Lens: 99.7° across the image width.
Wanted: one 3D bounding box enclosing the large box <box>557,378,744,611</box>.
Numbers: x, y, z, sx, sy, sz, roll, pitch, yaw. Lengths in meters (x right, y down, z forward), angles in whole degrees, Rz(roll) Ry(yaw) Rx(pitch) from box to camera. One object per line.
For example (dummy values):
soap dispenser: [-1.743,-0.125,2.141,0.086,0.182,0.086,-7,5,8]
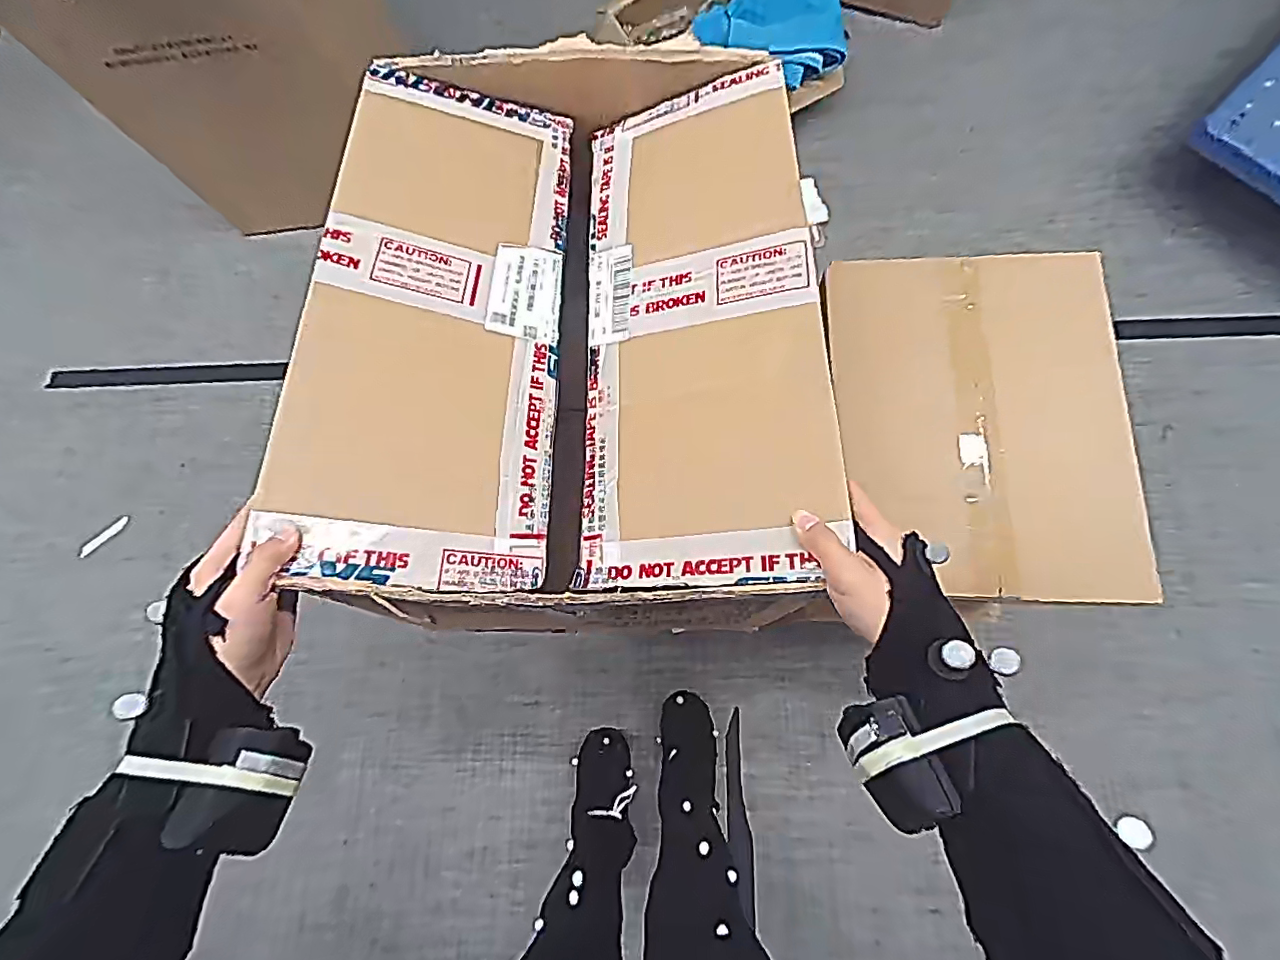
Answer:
large box: [0.019,0.047,1.083,0.320,0.320,0.408,-2,78,4]
